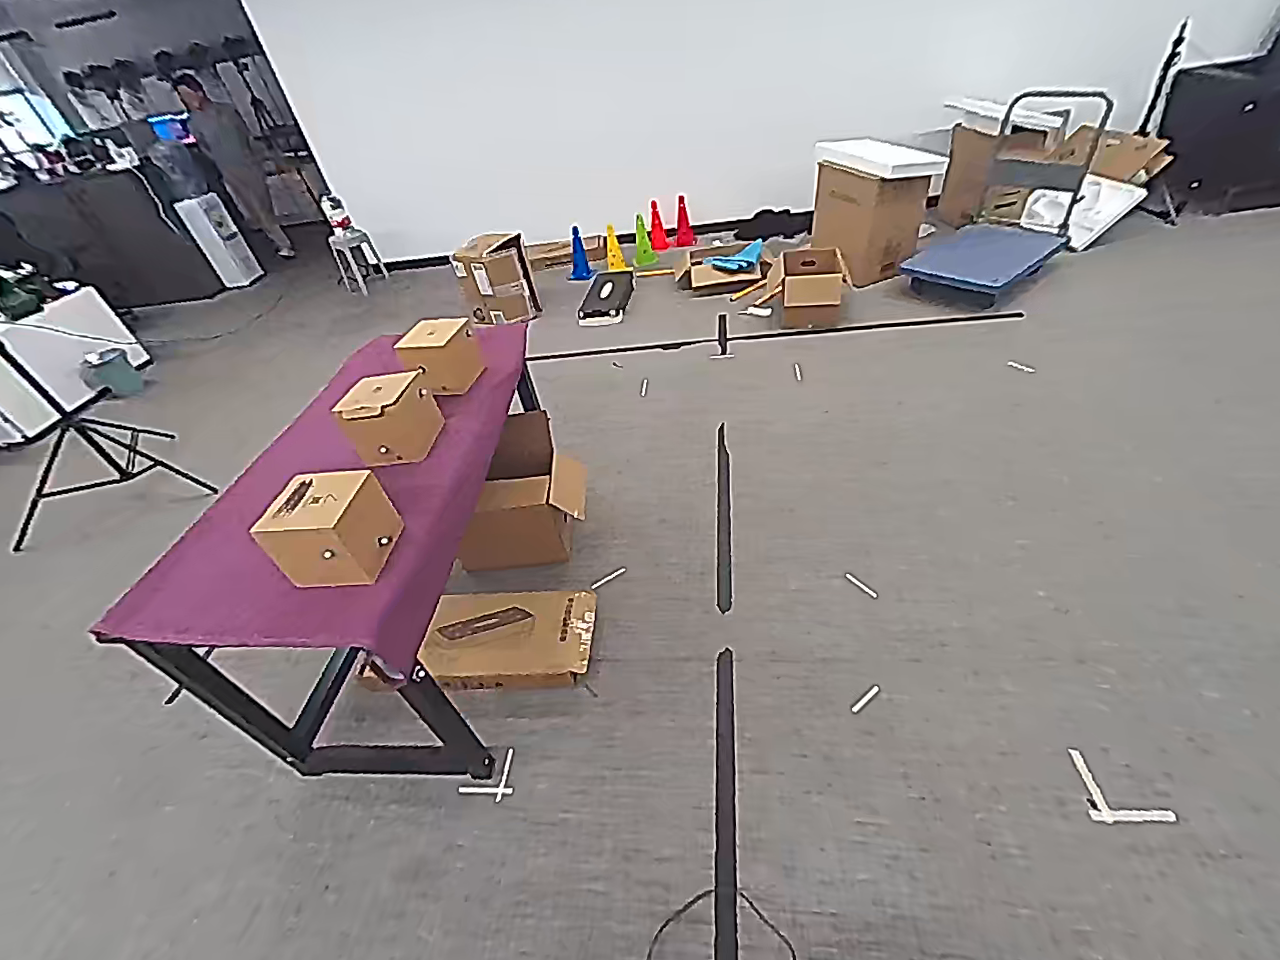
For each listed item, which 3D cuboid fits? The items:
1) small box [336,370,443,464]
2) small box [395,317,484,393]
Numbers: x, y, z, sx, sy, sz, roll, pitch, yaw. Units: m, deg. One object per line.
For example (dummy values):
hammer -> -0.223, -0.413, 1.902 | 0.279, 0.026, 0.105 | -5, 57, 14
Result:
small box -> -0.637, -0.163, 1.403 | 0.168, 0.176, 0.179 | -6, 41, 9
small box -> -0.595, -0.374, 1.638 | 0.168, 0.176, 0.179 | 1, 42, 13
